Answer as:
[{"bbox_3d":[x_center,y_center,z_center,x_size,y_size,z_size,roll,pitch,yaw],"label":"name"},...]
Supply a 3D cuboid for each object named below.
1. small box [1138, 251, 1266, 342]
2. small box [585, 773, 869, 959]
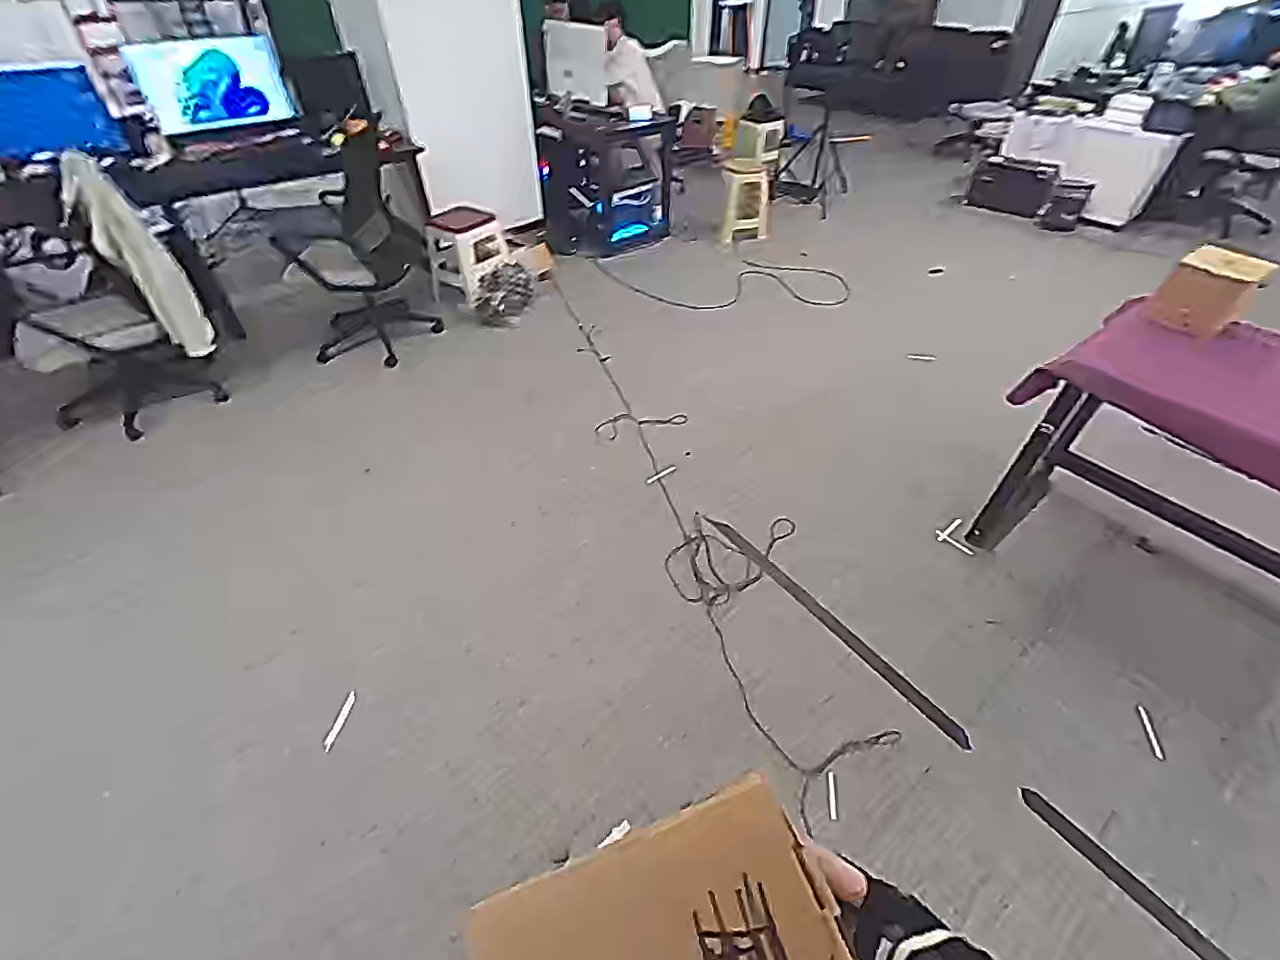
[{"bbox_3d":[1.570,-0.516,1.522,0.179,0.176,0.168,-27,50,-22],"label":"small box"},{"bbox_3d":[0.071,0.373,0.462,0.179,0.176,0.168,-22,59,-6],"label":"small box"}]
